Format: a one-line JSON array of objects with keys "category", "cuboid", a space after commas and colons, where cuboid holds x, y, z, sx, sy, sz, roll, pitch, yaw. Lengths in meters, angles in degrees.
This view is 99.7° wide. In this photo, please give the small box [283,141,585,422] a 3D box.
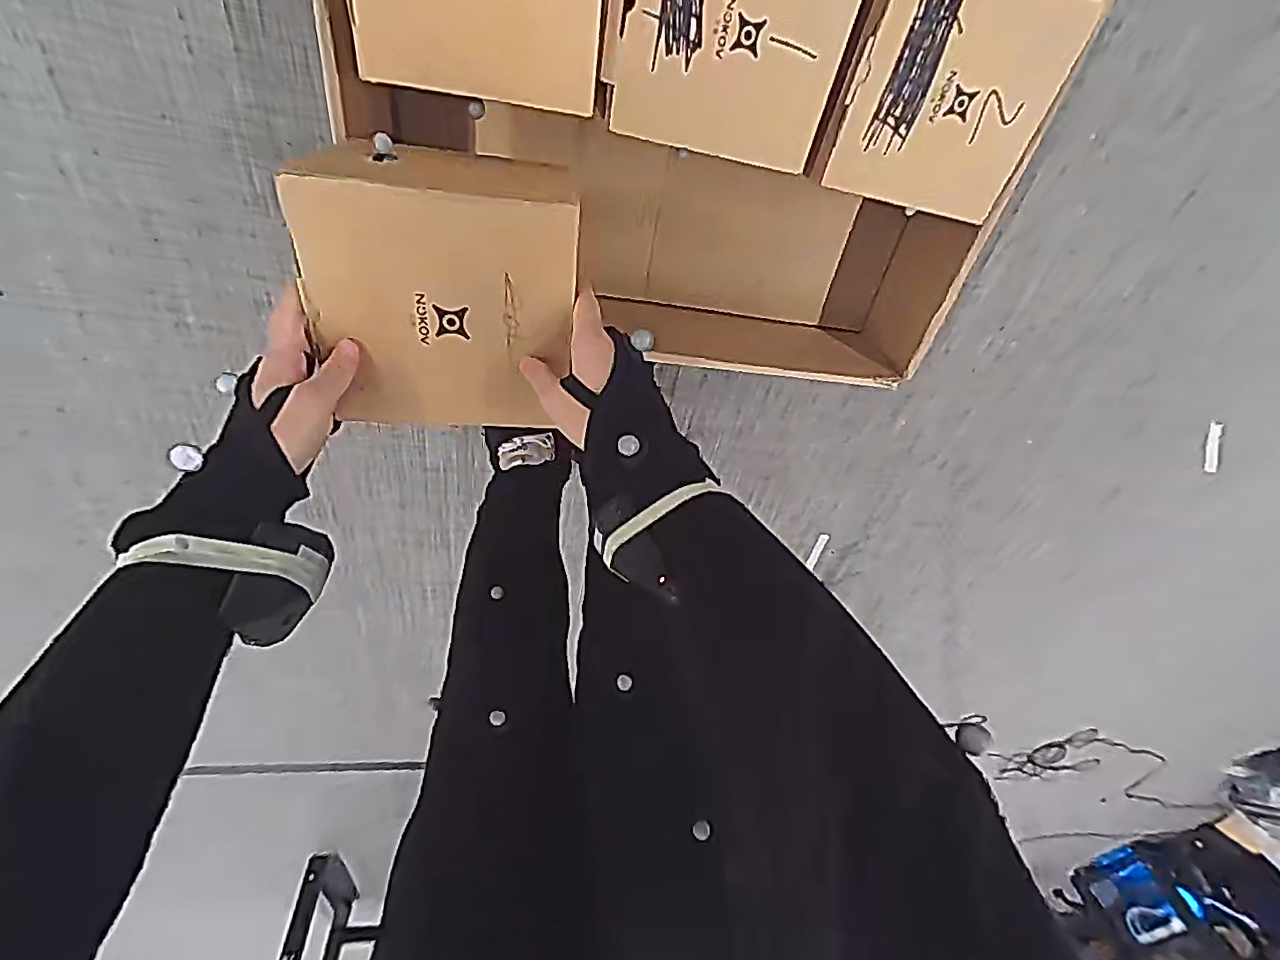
[{"category": "small box", "cuboid": [-0.140, -0.161, 0.432, 0.179, 0.176, 0.168, 0, 128, -11]}]
